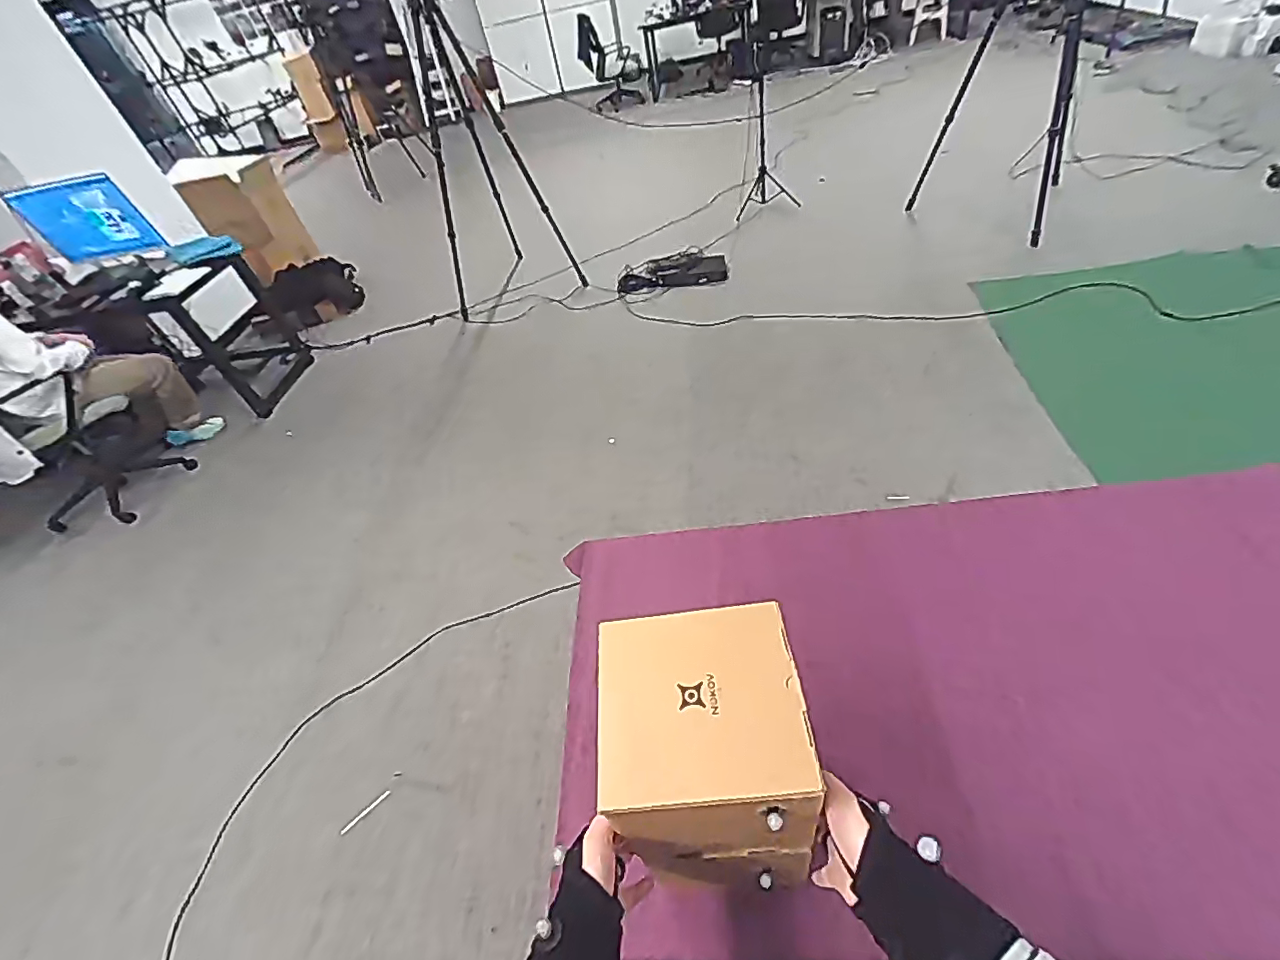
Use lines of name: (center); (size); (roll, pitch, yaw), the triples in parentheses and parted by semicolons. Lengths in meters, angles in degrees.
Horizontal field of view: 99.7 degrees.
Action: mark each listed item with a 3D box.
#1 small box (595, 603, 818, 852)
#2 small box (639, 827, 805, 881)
small box: (0.060, 0.242, 0.523); (0.179, 0.176, 0.168); (-8, 45, 4)
small box: (0.092, 0.355, 0.636); (0.168, 0.176, 0.179); (-7, 44, 6)
